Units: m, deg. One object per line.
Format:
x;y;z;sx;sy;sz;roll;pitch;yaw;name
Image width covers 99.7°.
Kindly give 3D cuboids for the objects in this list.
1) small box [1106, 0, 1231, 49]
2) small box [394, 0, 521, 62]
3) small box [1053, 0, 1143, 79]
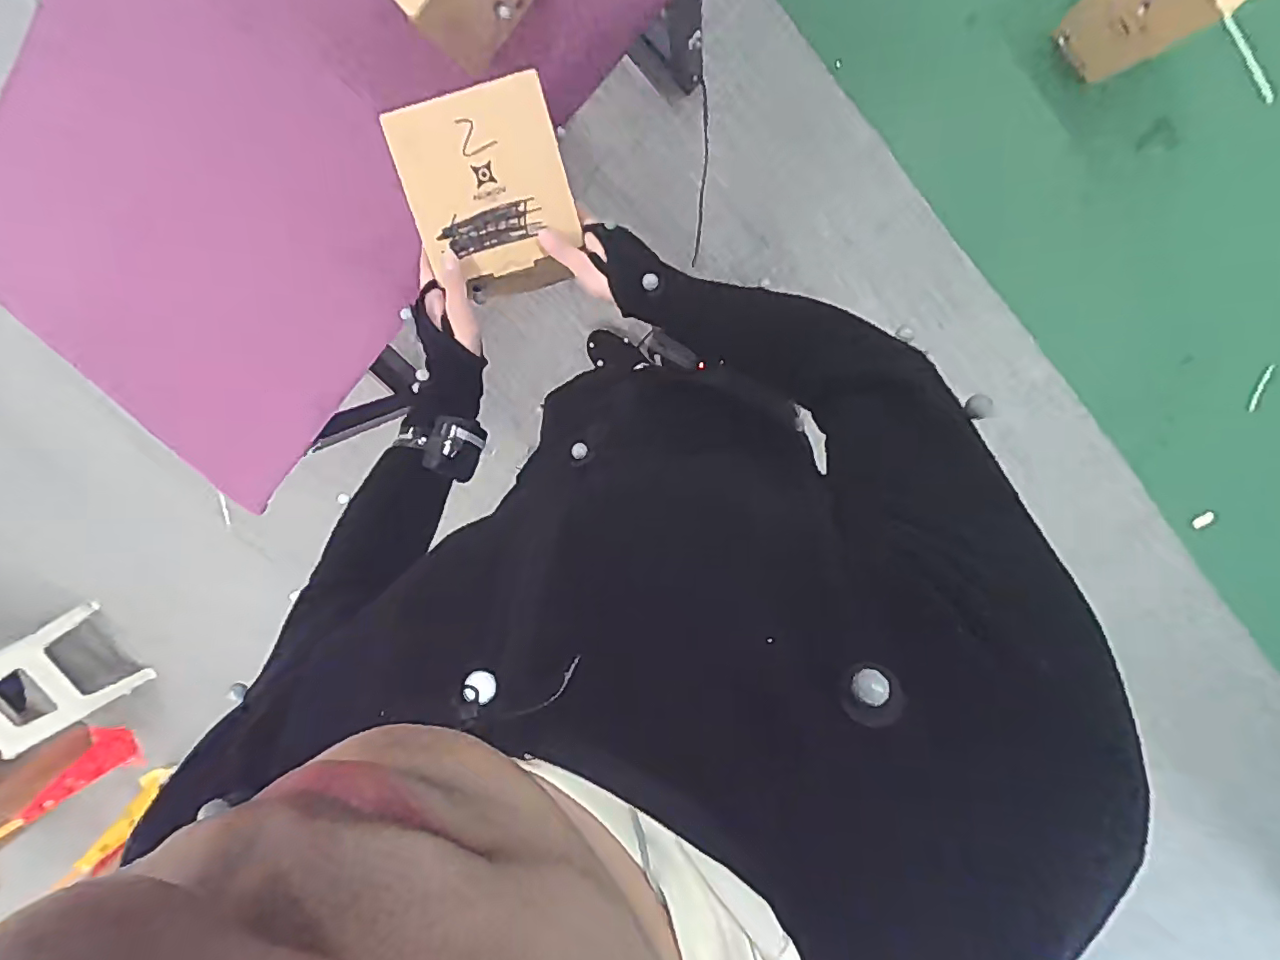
1.011;-0.949;0.979;0.168;0.176;0.179;43;108;-9;small box
-0.243;-0.638;0.617;0.168;0.176;0.179;-41;100;18;small box
1.019;-0.998;1.133;0.168;0.176;0.179;44;107;-9;small box
